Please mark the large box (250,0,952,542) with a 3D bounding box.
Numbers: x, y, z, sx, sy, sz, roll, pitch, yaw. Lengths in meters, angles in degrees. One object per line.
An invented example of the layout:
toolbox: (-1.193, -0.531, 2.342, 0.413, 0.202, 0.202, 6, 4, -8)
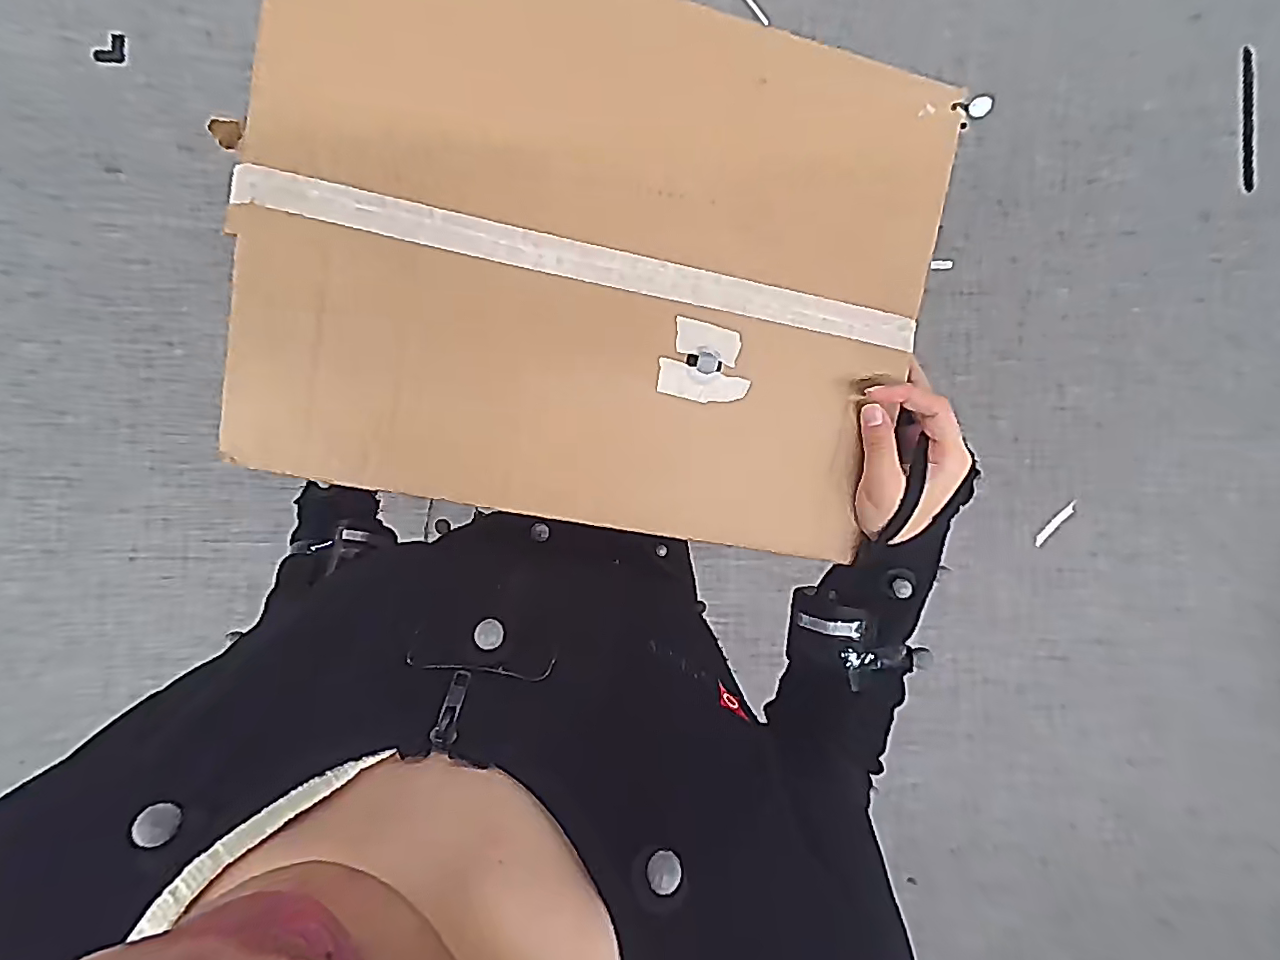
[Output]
large box: (-0.036, -0.152, 0.480, 0.408, 0.320, 0.320, 10, 97, -10)
